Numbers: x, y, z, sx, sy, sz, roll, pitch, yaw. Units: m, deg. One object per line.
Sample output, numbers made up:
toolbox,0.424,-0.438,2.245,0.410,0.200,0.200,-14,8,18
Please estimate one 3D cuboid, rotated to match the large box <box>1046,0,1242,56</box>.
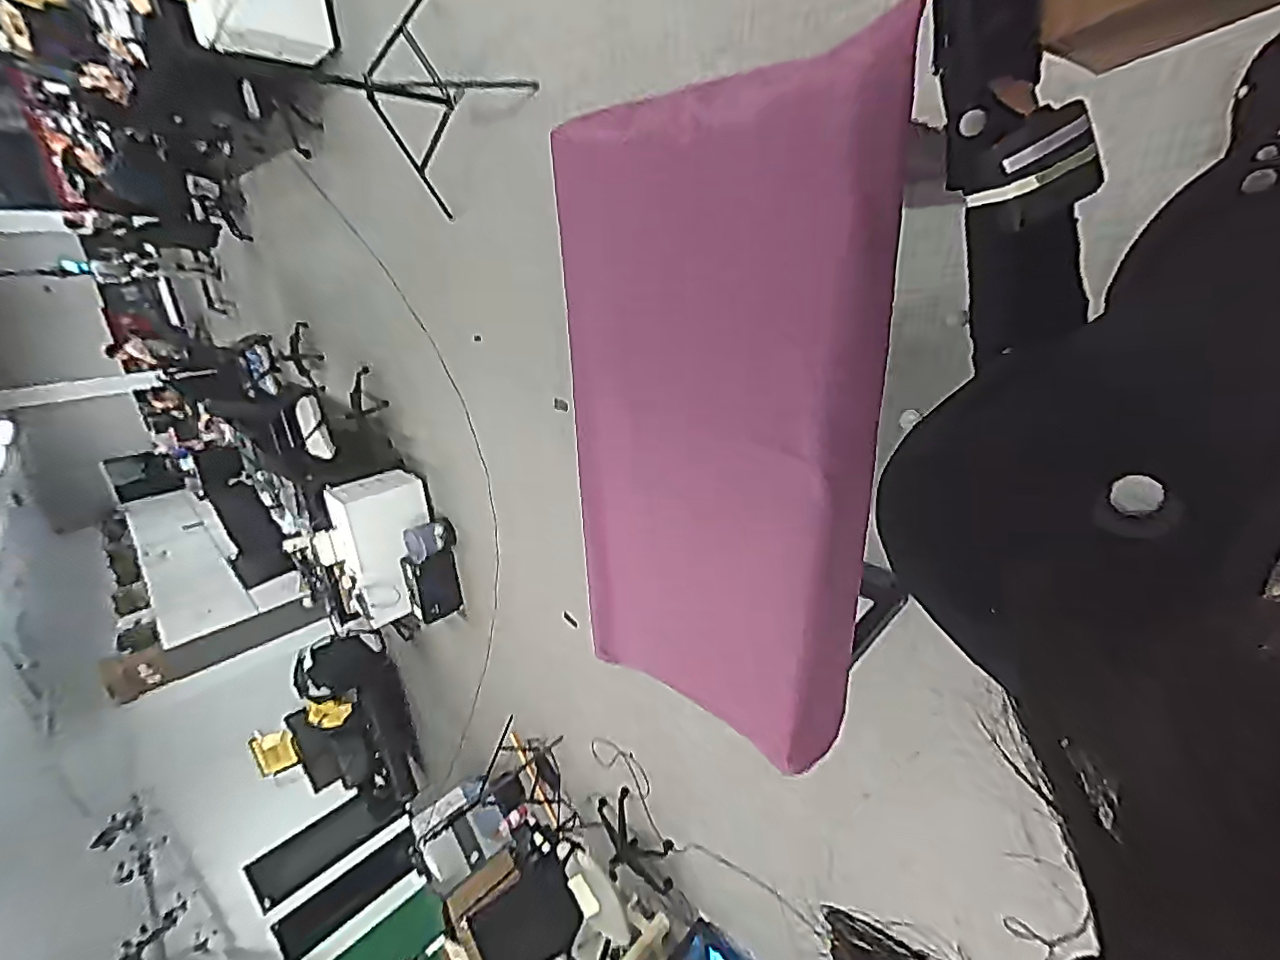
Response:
large box,0.439,-0.484,0.246,0.408,0.320,0.320,0,116,46
